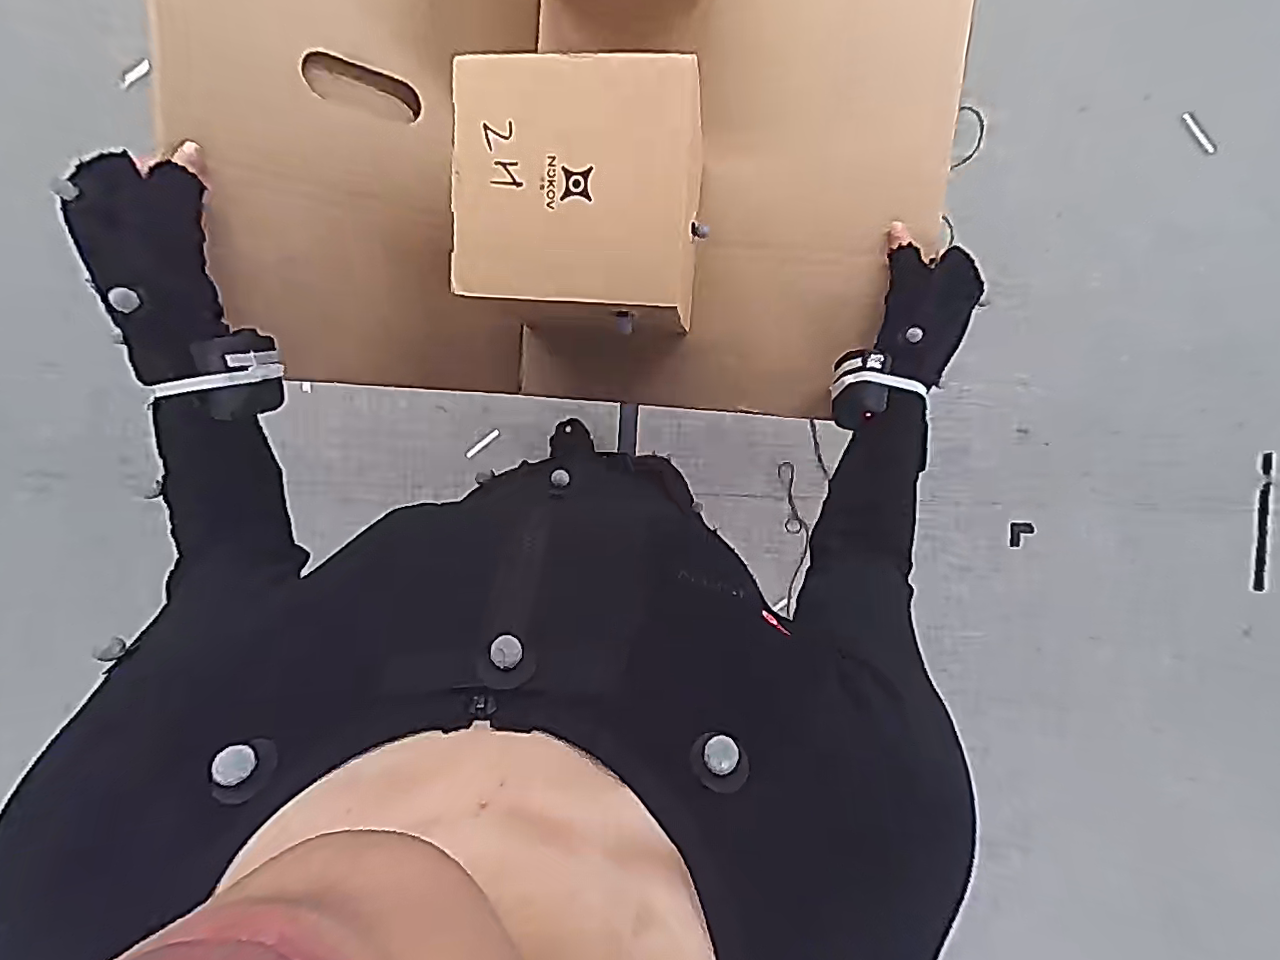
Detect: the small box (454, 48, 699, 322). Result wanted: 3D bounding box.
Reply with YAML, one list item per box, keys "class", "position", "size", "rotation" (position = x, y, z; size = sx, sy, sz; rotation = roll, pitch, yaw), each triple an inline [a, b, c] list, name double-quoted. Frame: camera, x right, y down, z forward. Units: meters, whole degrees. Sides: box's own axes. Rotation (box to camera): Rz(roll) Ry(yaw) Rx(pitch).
- class: "small box"
  position: [-0.042, -0.237, 0.475]
  size: [0.179, 0.176, 0.168]
  rotation: [6, 99, 7]
